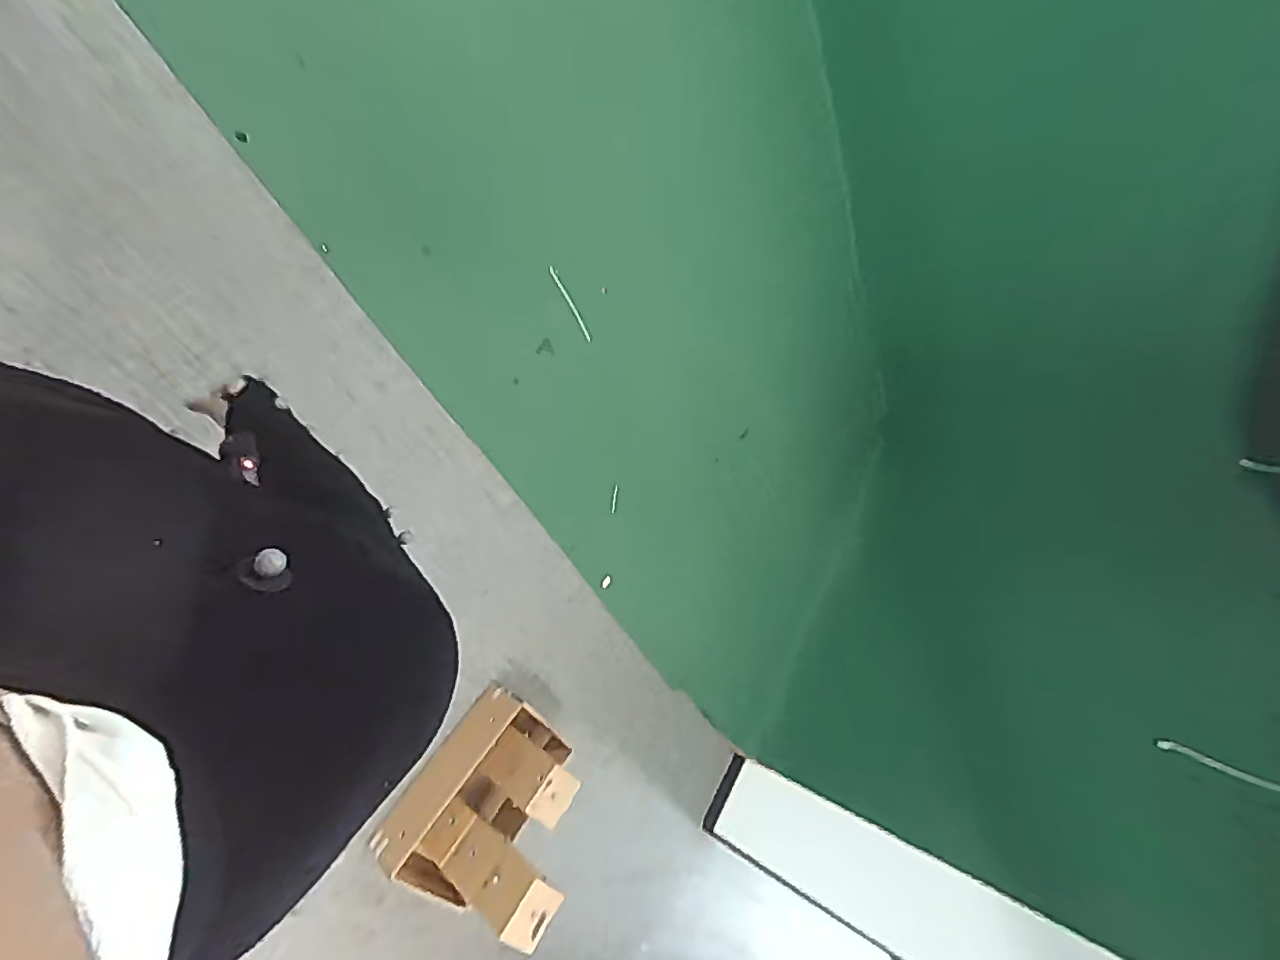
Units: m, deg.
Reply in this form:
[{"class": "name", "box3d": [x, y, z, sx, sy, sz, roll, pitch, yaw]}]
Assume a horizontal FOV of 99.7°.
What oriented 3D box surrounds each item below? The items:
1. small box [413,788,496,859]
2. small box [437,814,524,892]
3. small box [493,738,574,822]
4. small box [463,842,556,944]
[{"class": "small box", "box3d": [-0.637, 1.193, 1.848, 0.168, 0.176, 0.179, -51, 131, -29]}, {"class": "small box", "box3d": [-0.515, 1.216, 1.740, 0.168, 0.176, 0.179, -50, 131, -29]}, {"class": "small box", "box3d": [-0.367, 1.024, 1.858, 0.168, 0.176, 0.179, -52, 131, -27]}, {"class": "small box", "box3d": [-0.393, 1.240, 1.632, 0.168, 0.176, 0.179, -51, 130, -30]}]
